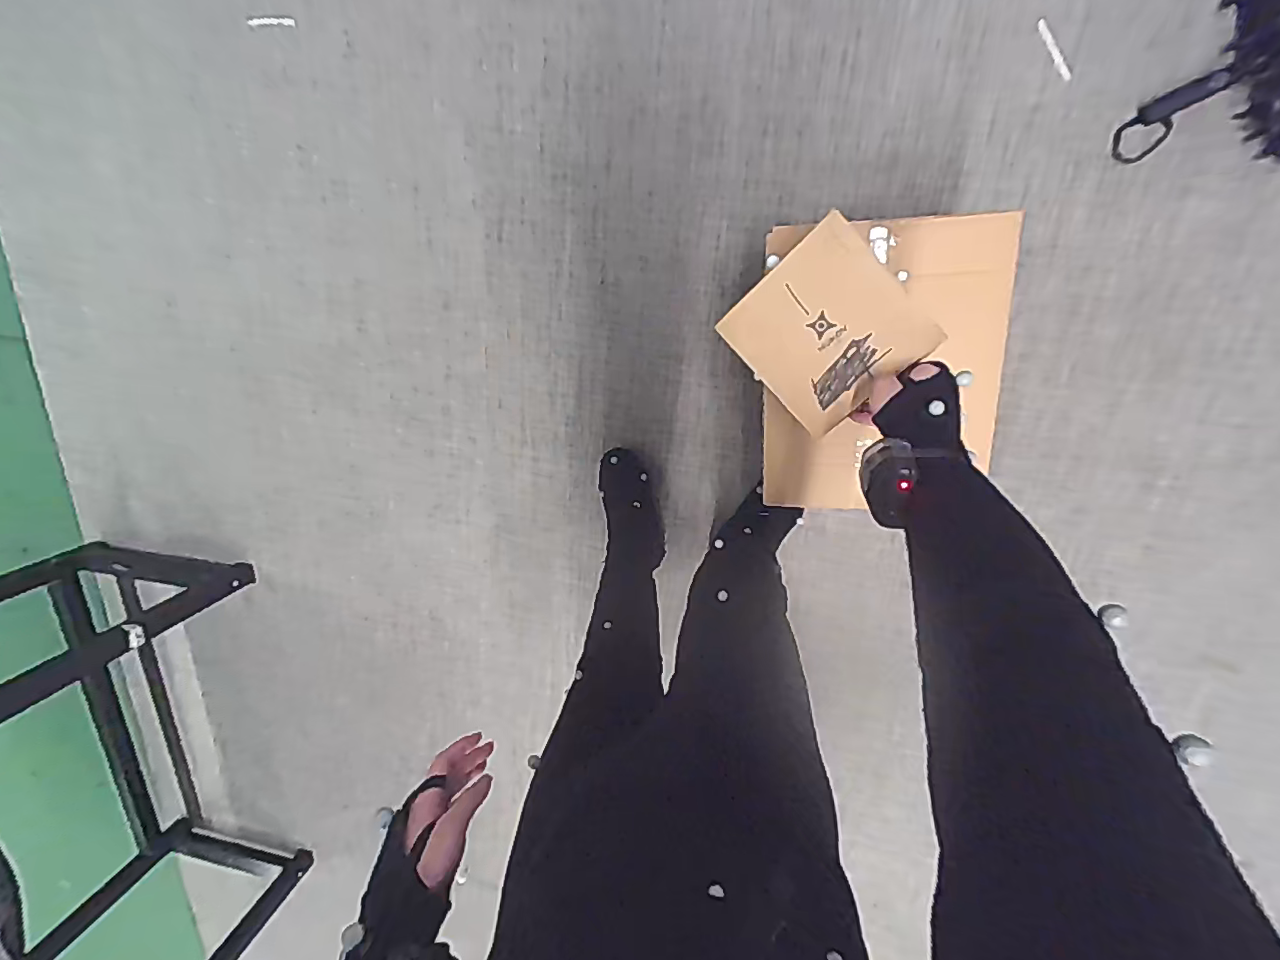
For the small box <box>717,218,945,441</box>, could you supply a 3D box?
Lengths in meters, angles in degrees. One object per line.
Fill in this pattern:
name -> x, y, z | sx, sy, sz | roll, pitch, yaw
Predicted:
small box -> 0.220, -0.178, 0.645 | 0.168, 0.176, 0.179 | -41, 93, 24
